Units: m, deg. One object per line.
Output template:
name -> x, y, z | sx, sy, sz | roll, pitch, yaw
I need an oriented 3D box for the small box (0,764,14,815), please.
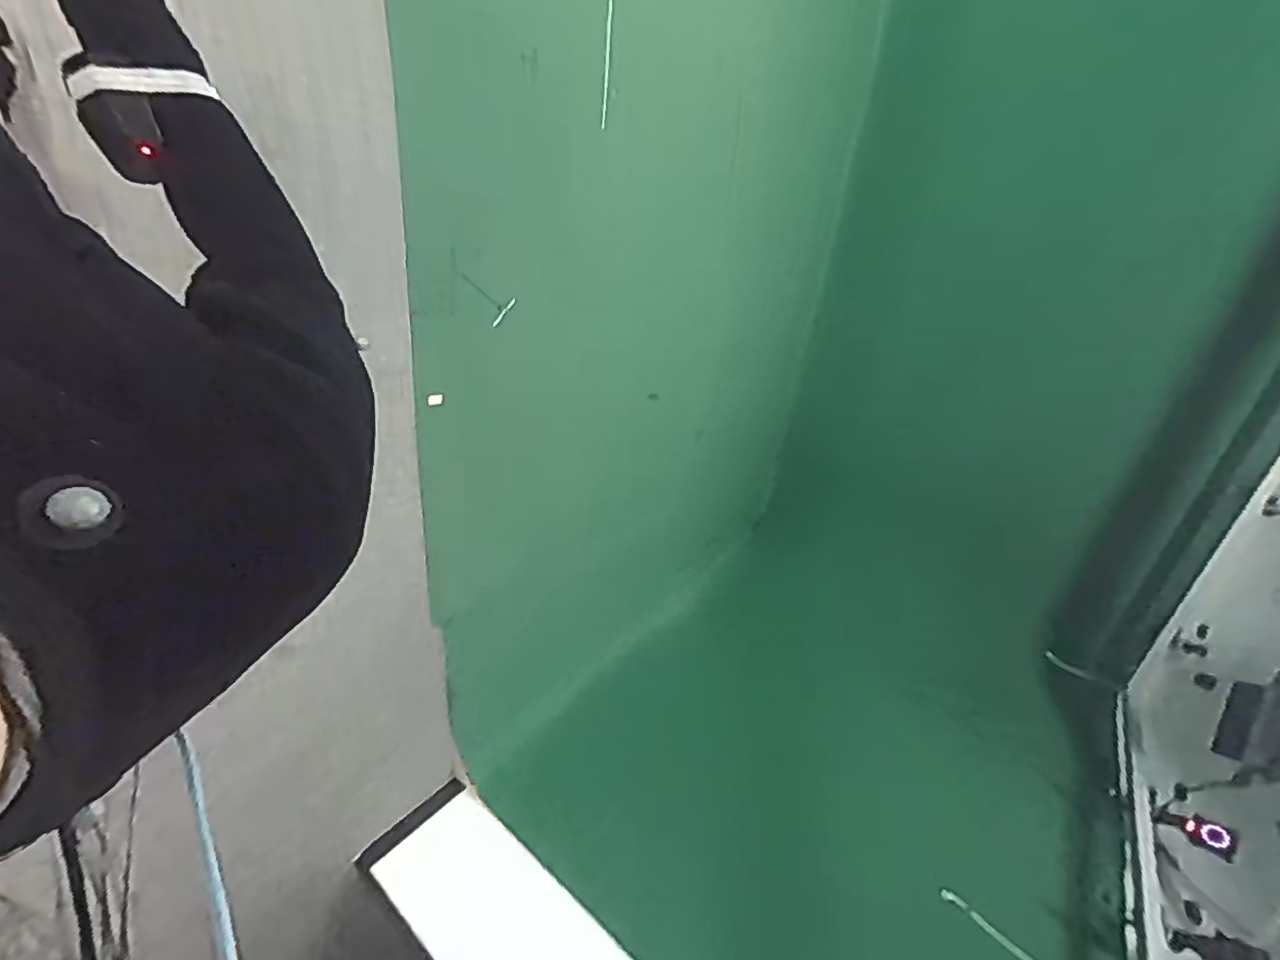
small box -> -1.081, 0.434, 0.785 | 0.179, 0.176, 0.168 | -25, 129, -46
